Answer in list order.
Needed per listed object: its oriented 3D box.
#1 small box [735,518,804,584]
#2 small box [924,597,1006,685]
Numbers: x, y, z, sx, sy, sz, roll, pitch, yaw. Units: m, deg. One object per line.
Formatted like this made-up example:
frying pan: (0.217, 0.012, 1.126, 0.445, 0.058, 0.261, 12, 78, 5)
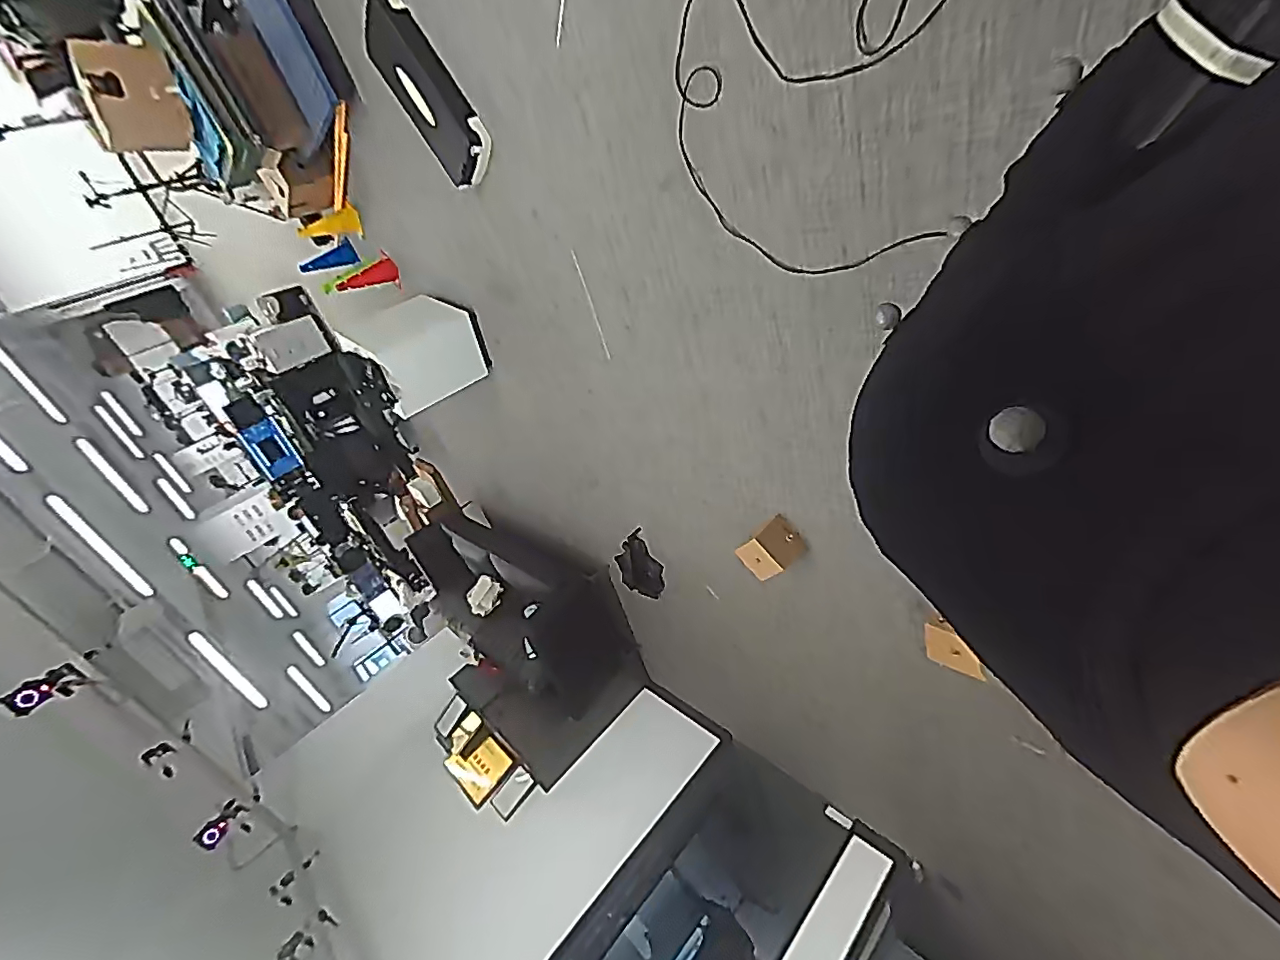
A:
small box: (0.516, 0.281, 2.152, 0.168, 0.176, 0.179, 47, 149, 6)
small box: (1.013, 0.491, 1.680, 0.179, 0.176, 0.168, 15, 134, 48)
